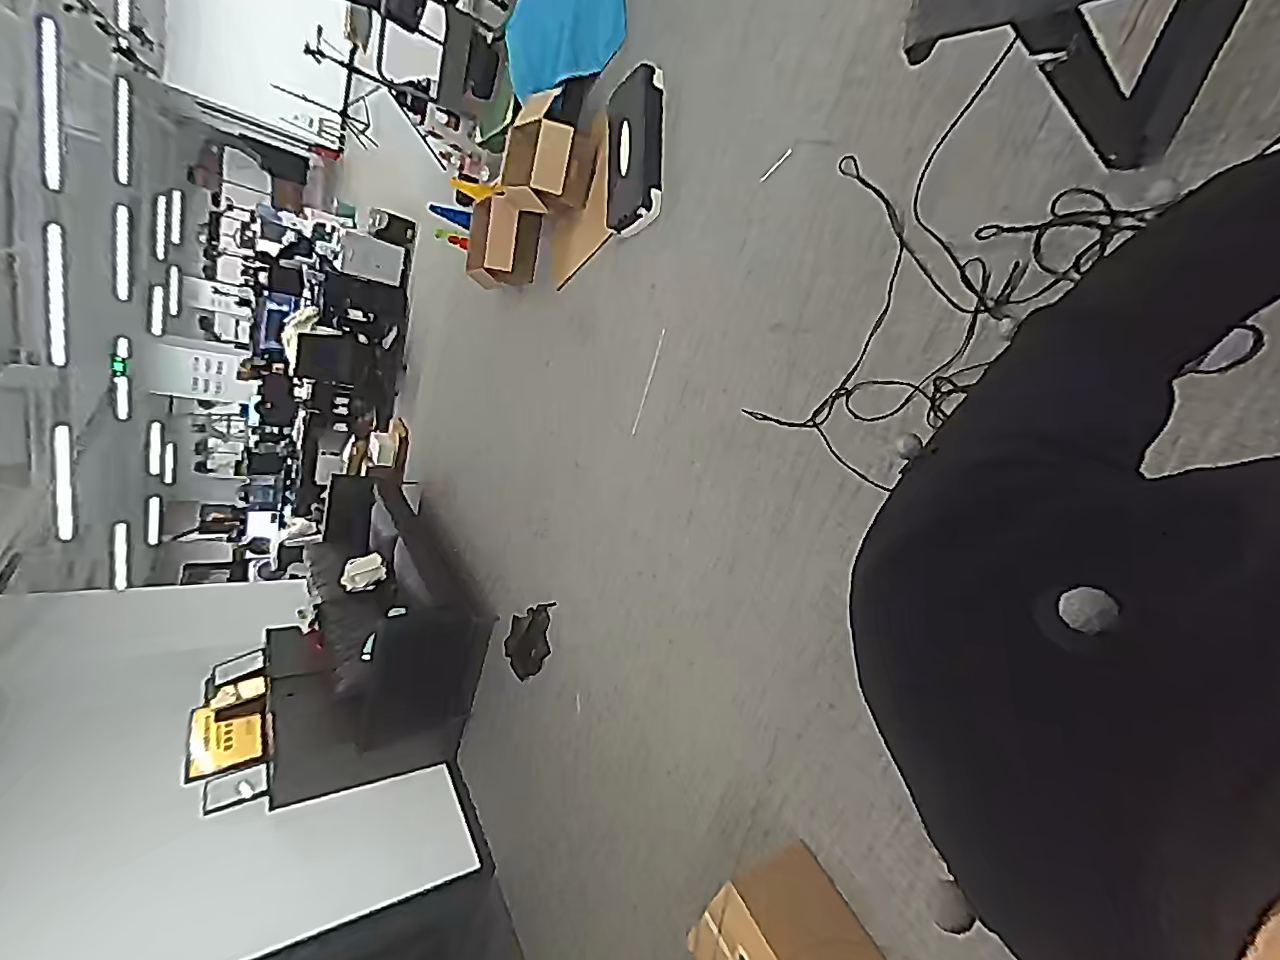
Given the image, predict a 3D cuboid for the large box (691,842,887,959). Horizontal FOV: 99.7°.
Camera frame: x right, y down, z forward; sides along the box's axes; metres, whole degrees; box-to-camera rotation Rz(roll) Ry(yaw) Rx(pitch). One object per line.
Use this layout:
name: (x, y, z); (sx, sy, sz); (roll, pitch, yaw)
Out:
large box: (0.411, 1.290, 1.436); (0.408, 0.320, 0.320); (49, 123, 45)
